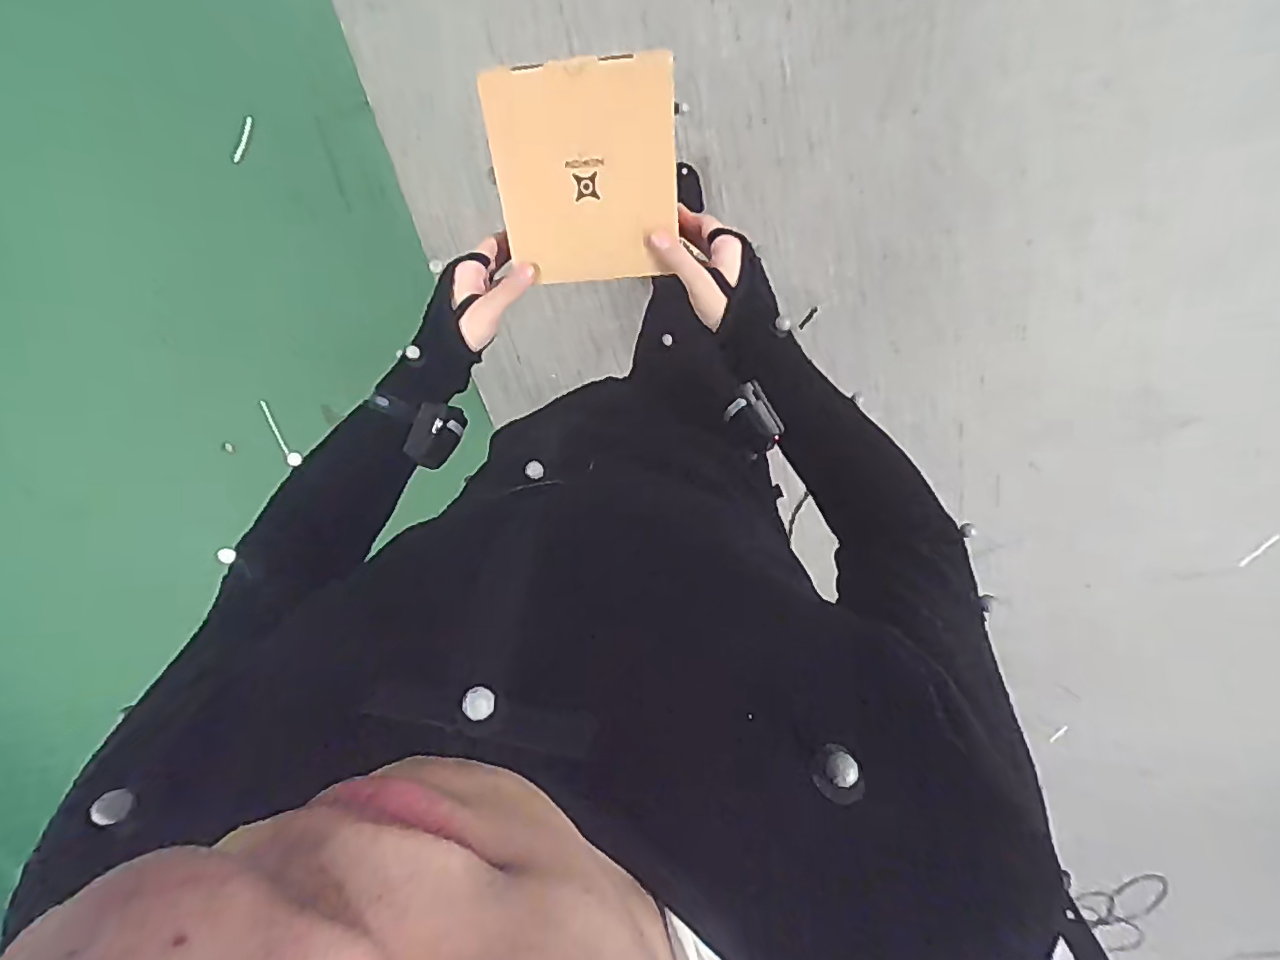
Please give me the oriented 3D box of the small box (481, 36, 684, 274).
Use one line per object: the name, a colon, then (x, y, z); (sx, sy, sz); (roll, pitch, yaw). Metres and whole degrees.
small box: (-0.040, -0.327, 0.557); (0.168, 0.176, 0.179); (-4, 122, 6)
